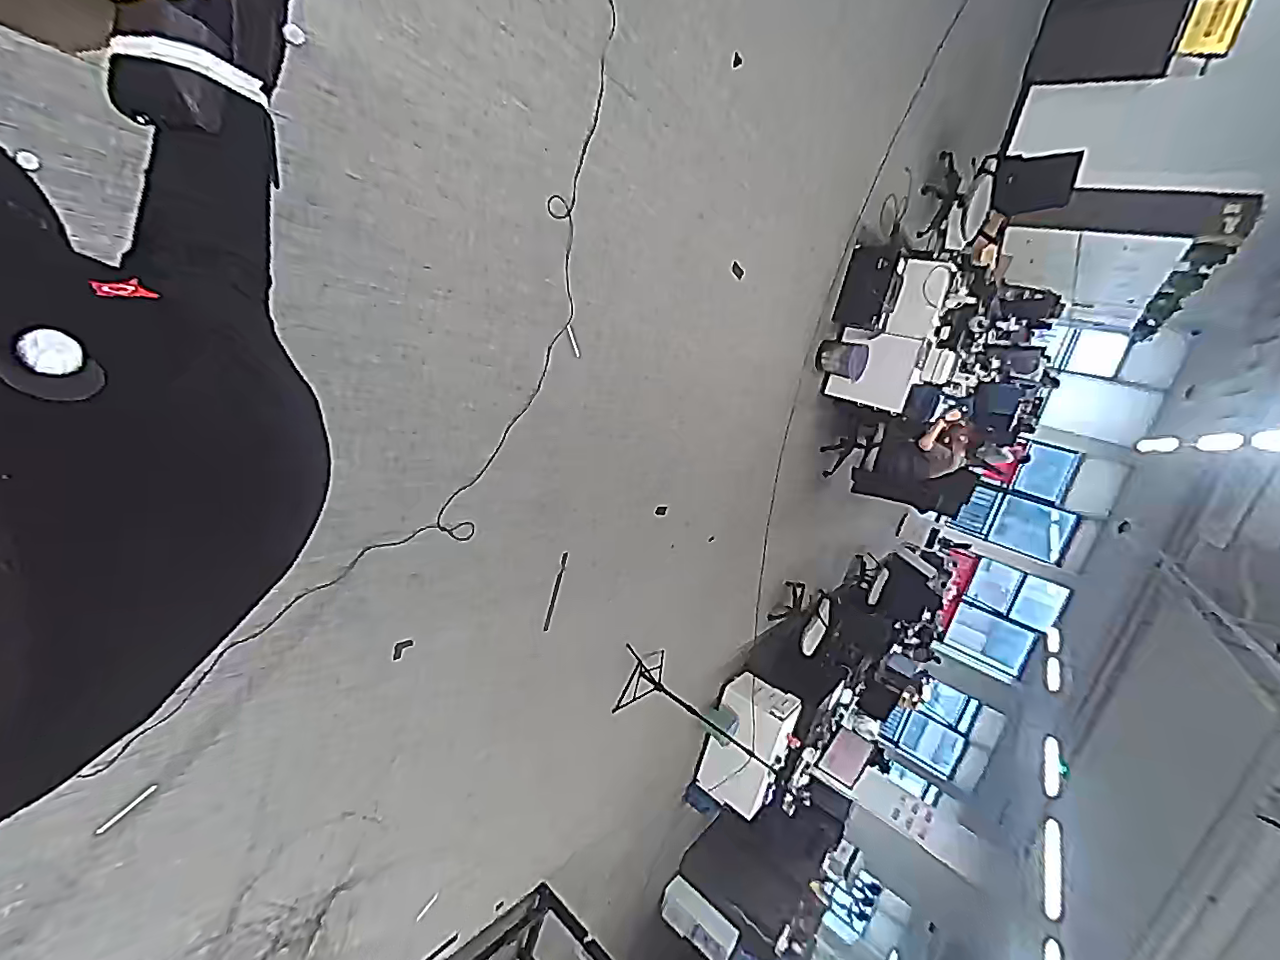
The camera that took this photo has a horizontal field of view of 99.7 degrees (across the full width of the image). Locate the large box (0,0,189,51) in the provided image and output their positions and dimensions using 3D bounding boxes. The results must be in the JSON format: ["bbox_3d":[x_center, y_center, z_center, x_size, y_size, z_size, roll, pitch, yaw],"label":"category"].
[{"bbox_3d":[-0.497,-0.476,0.237,0.408,0.320,0.320,-7,118,-57],"label":"large box"}]
